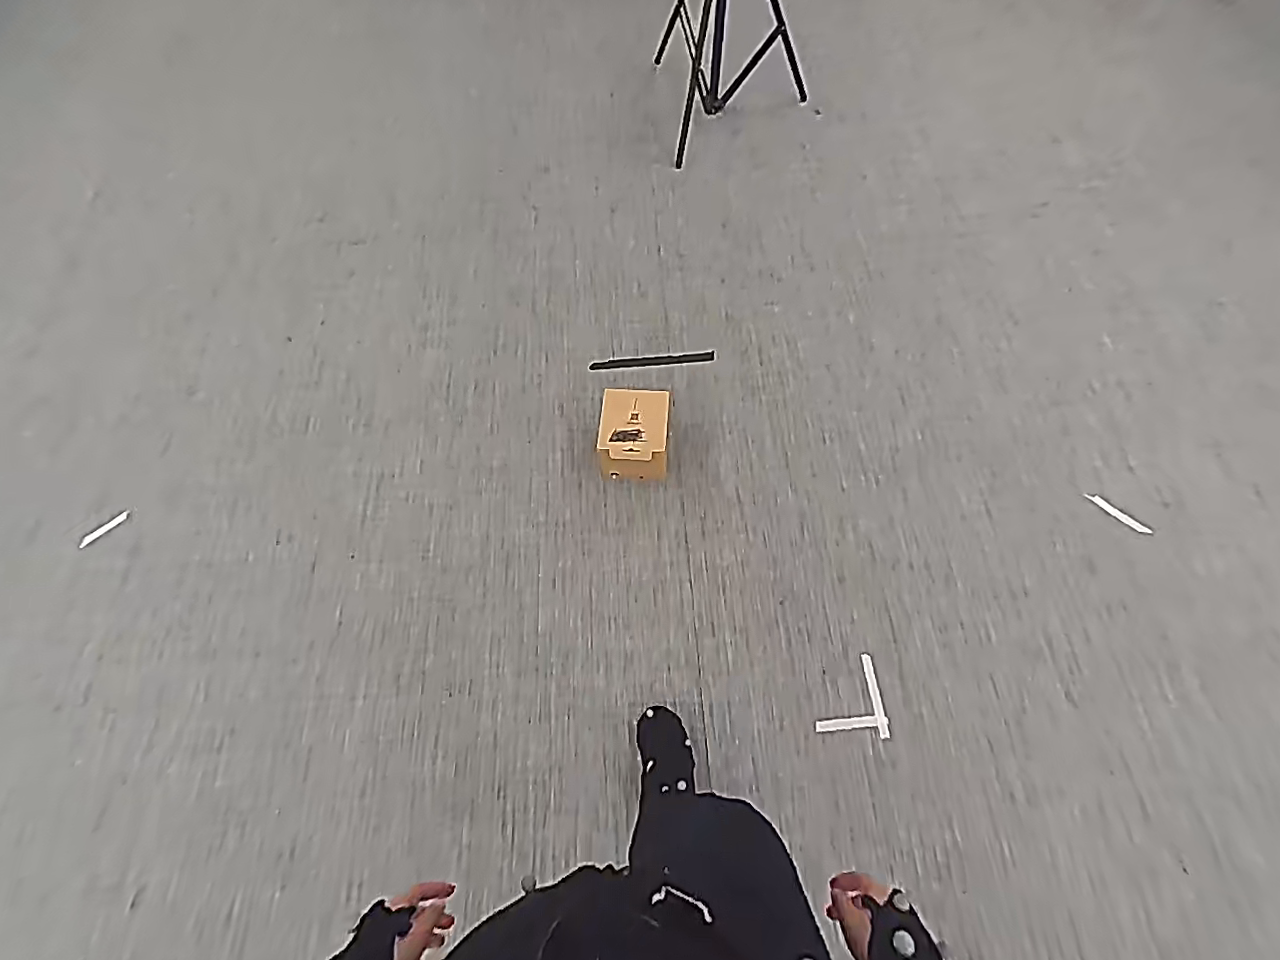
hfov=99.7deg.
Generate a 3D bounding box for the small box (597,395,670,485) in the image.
[{"bbox_3d":[-0.011,-0.098,1.391,0.168,0.176,0.179,3,66,4],"label":"small box"}]
